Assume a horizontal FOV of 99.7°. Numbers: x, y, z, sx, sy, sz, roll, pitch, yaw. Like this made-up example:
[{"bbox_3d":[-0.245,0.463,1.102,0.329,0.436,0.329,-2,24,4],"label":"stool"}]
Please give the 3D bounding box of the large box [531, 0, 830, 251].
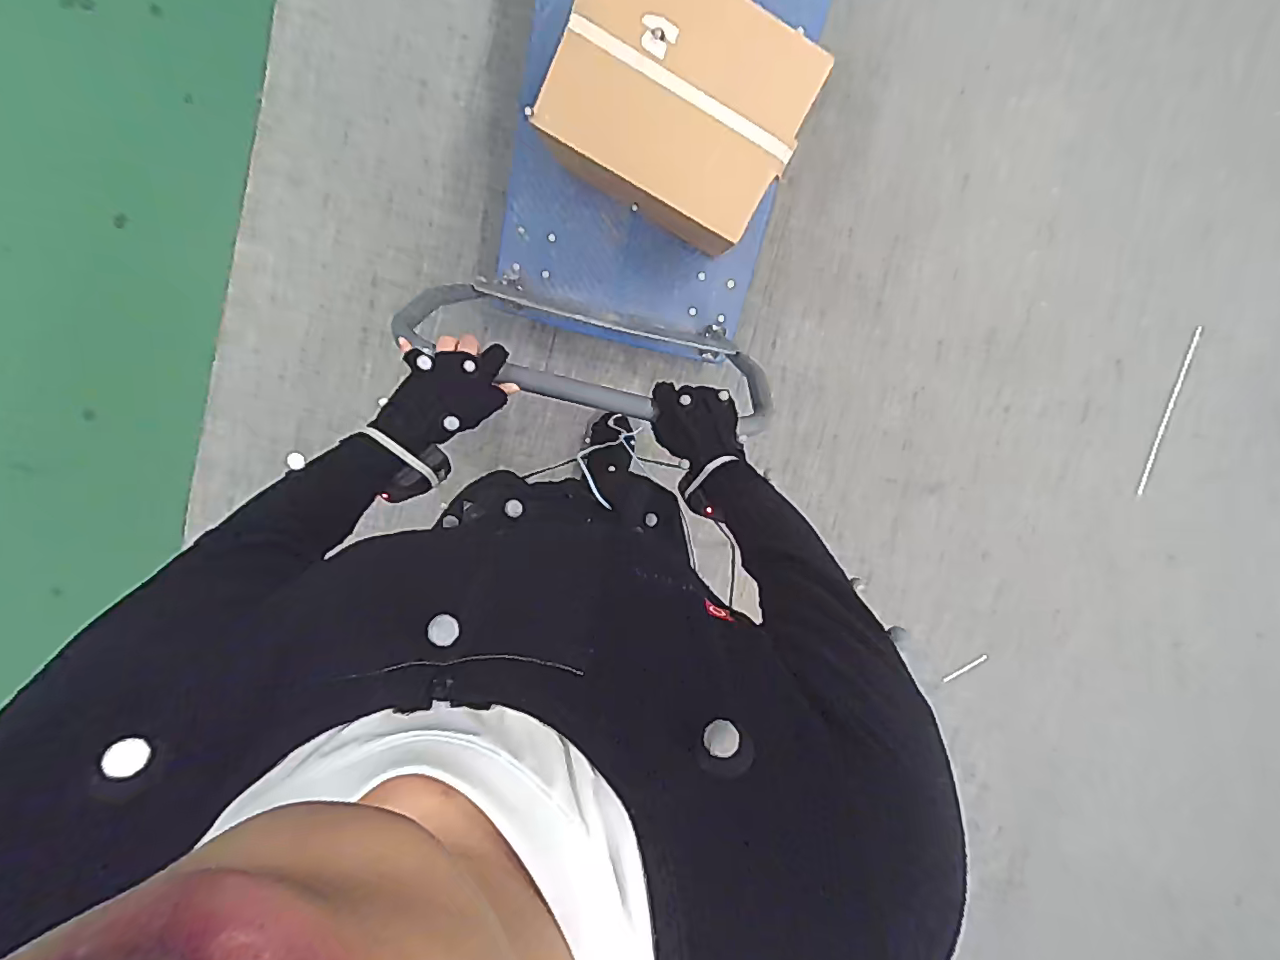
[{"bbox_3d":[0.067,-0.679,1.021,0.408,0.320,0.320,28,107,-8],"label":"large box"}]
